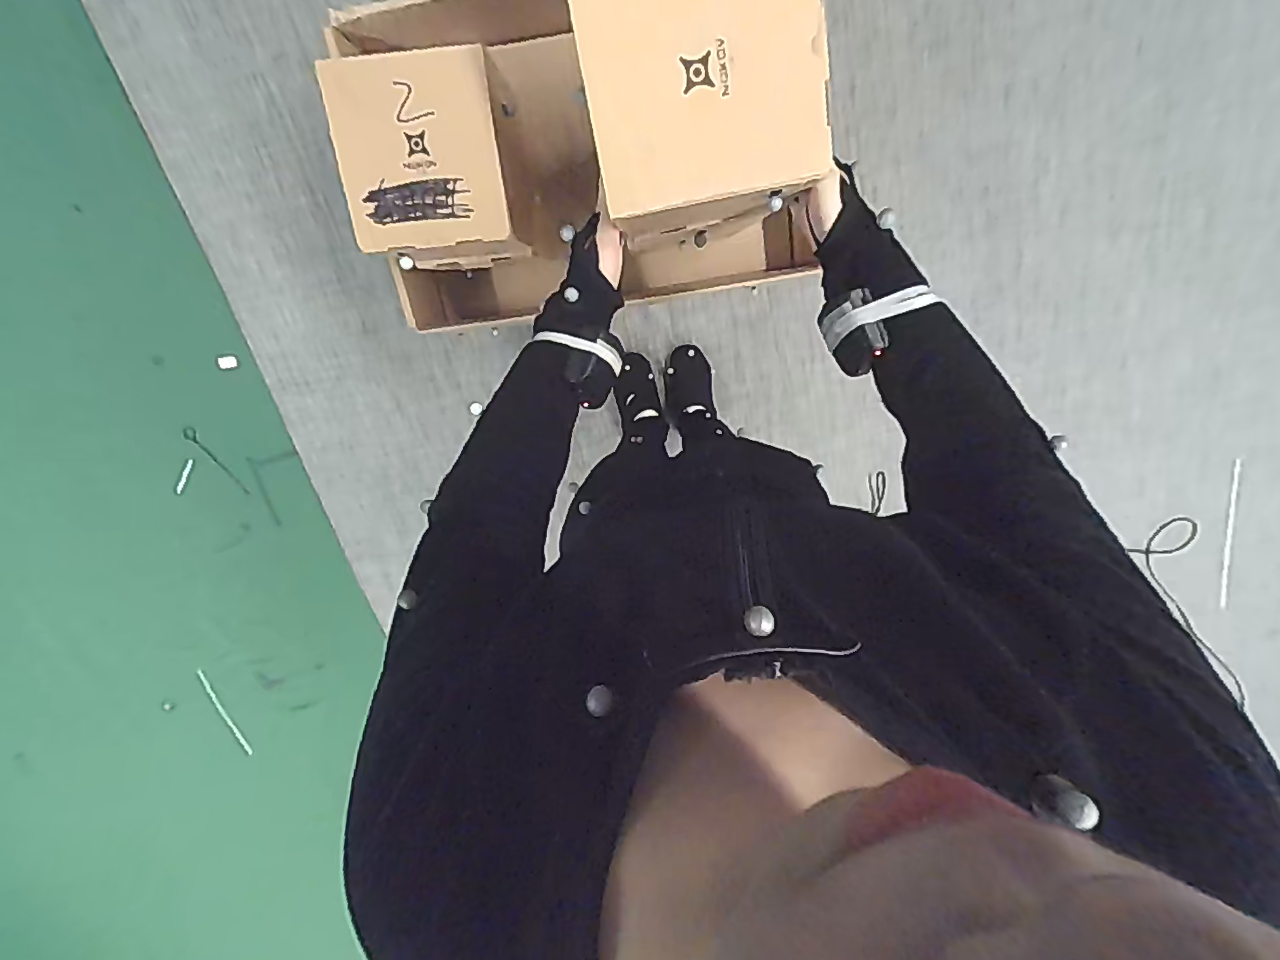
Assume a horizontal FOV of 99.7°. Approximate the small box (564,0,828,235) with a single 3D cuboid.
[{"bbox_3d":[0.045,-0.320,0.466,0.179,0.176,0.168,-10,109,4],"label":"small box"}]
